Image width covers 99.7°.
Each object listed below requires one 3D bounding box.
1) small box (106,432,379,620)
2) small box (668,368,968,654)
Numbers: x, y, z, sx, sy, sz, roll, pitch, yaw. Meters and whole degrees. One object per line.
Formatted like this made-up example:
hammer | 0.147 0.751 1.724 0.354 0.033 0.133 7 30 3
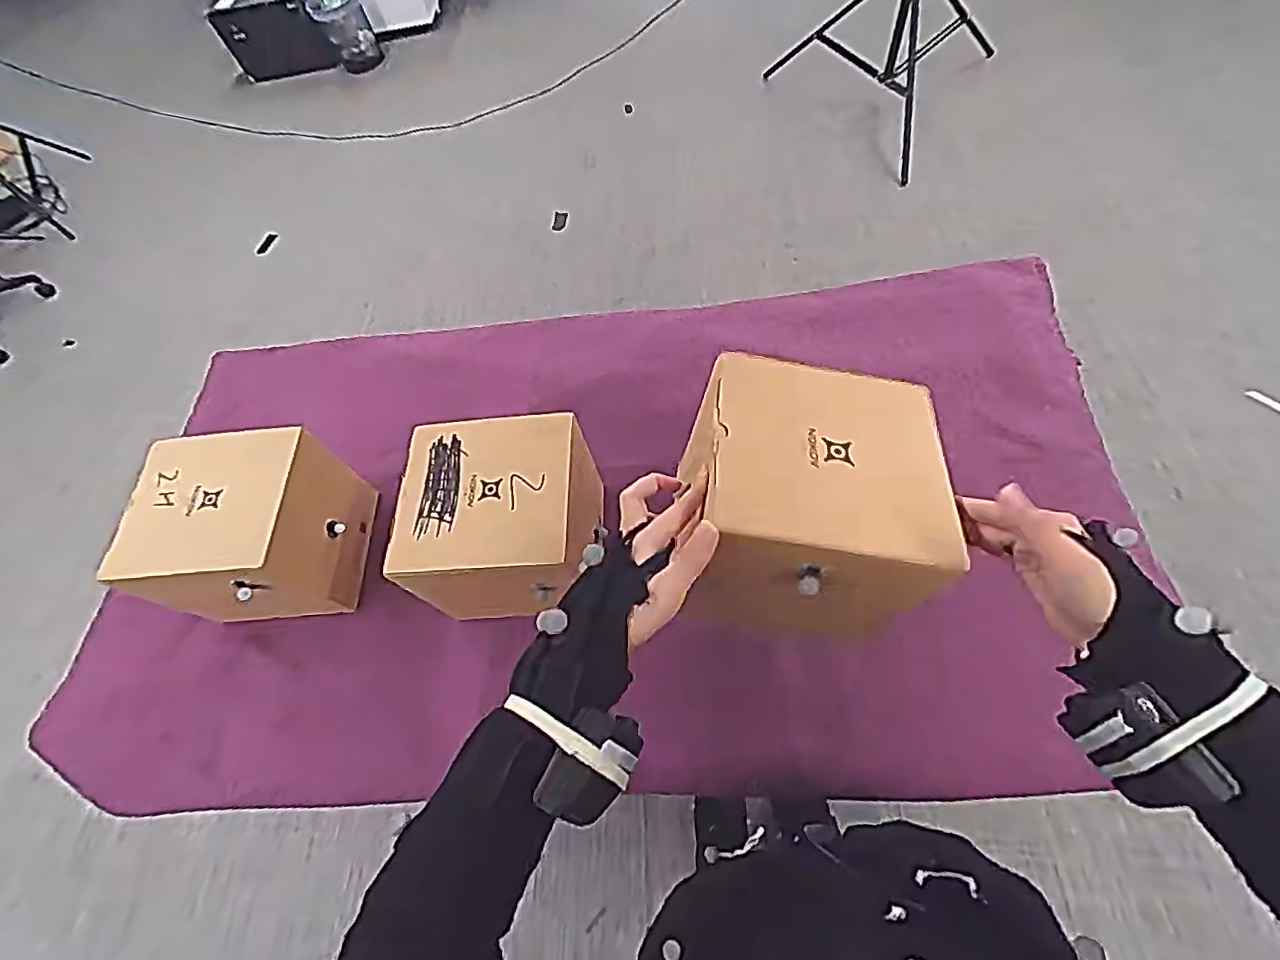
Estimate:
small box | -0.440 0.062 0.639 0.179 0.176 0.168 -5 61 4
small box | 0.129 0.033 0.463 0.179 0.176 0.168 9 48 -2
